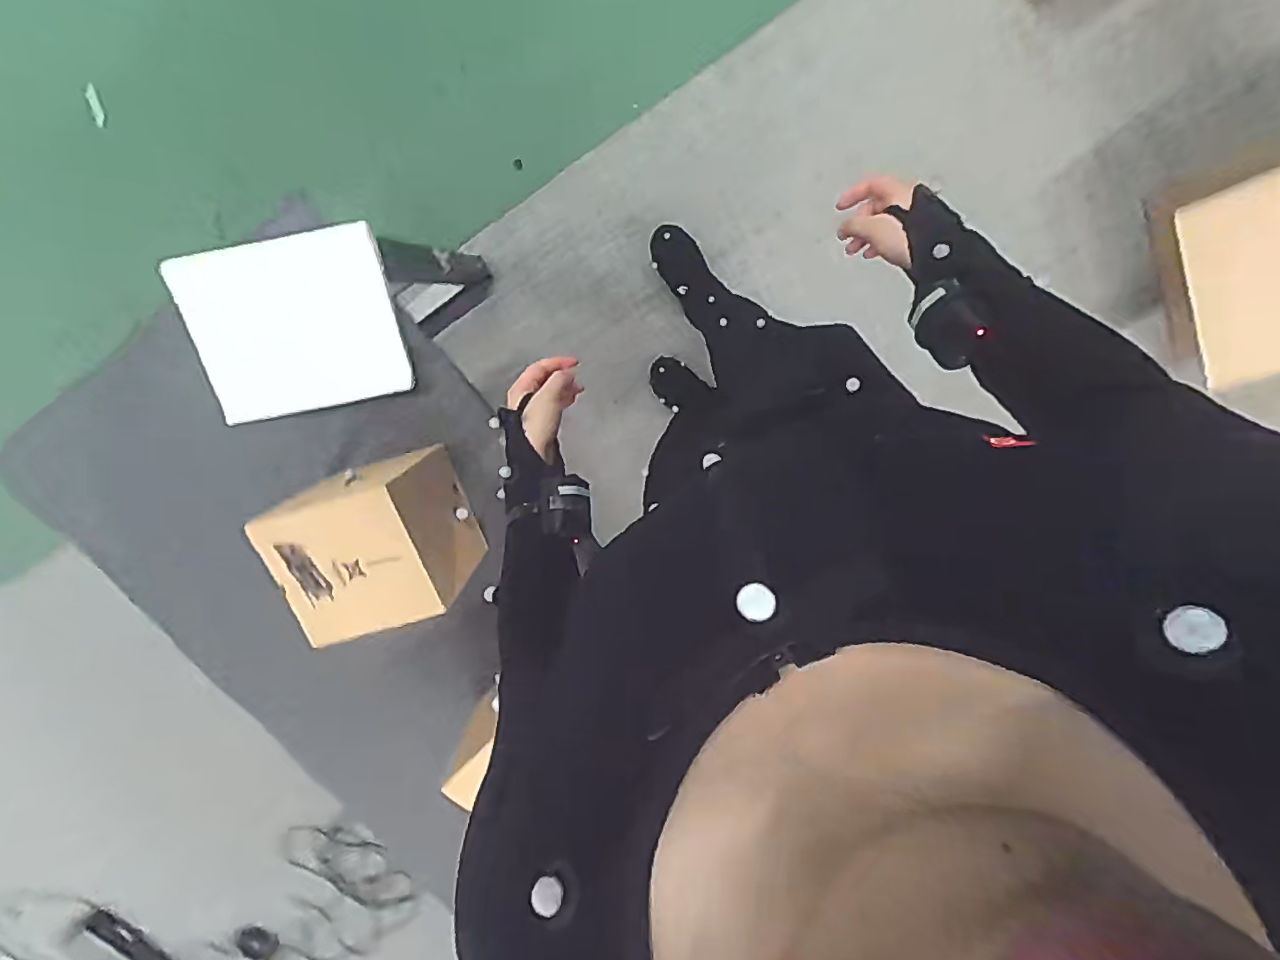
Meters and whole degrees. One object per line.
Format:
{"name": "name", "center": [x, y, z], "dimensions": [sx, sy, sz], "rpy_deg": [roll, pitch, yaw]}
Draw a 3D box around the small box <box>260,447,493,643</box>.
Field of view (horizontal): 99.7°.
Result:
{"name": "small box", "center": [-0.314, 0.074, 0.686], "dimensions": [0.179, 0.176, 0.168], "rpy_deg": [-17, 108, 7]}
